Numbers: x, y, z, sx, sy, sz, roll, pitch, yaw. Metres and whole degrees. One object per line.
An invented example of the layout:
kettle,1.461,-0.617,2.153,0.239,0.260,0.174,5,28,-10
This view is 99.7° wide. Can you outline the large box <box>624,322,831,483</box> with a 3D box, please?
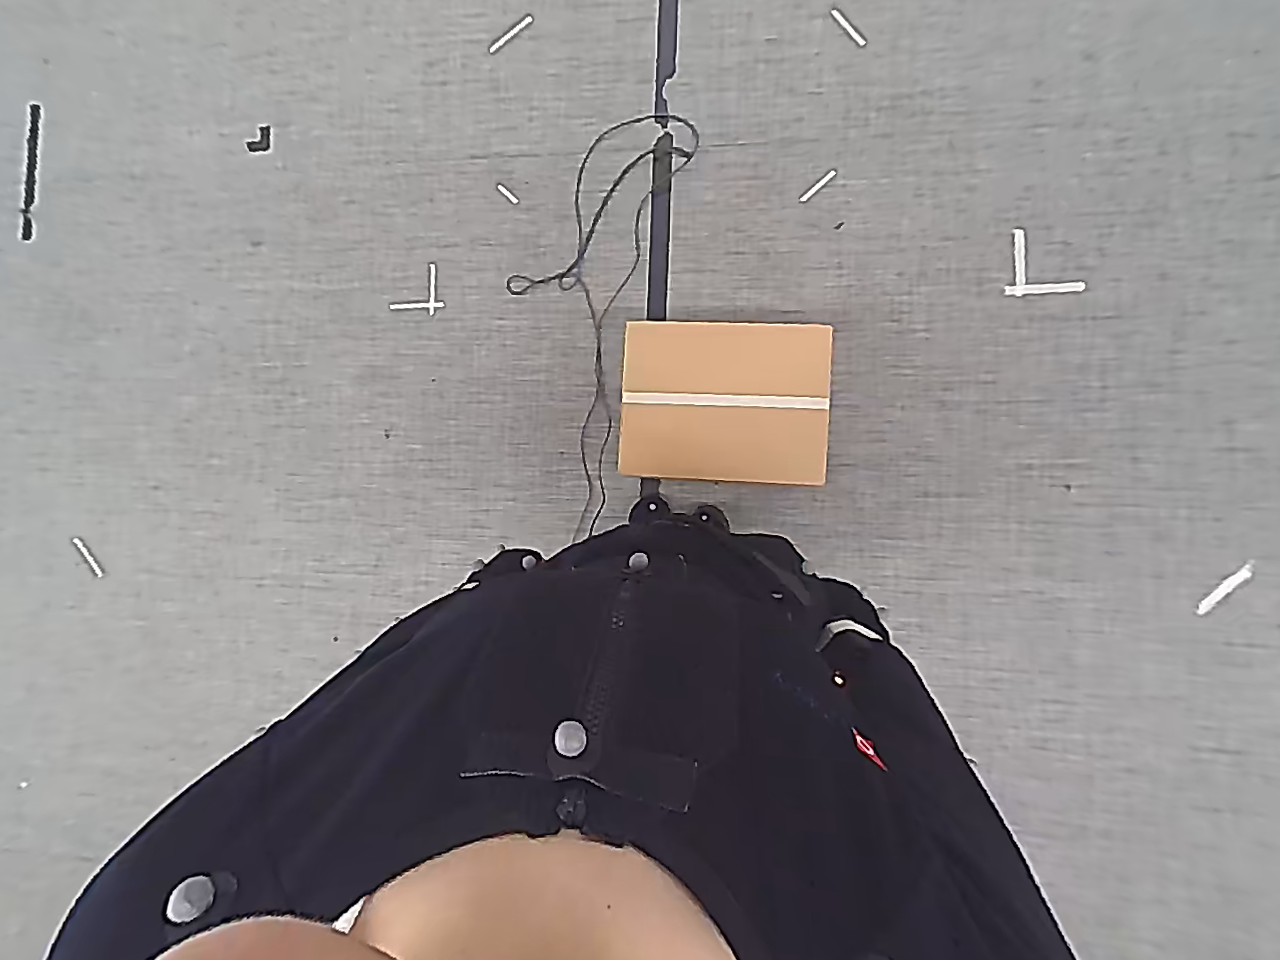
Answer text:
large box,0.184,-0.155,1.219,0.408,0.320,0.320,3,90,7
